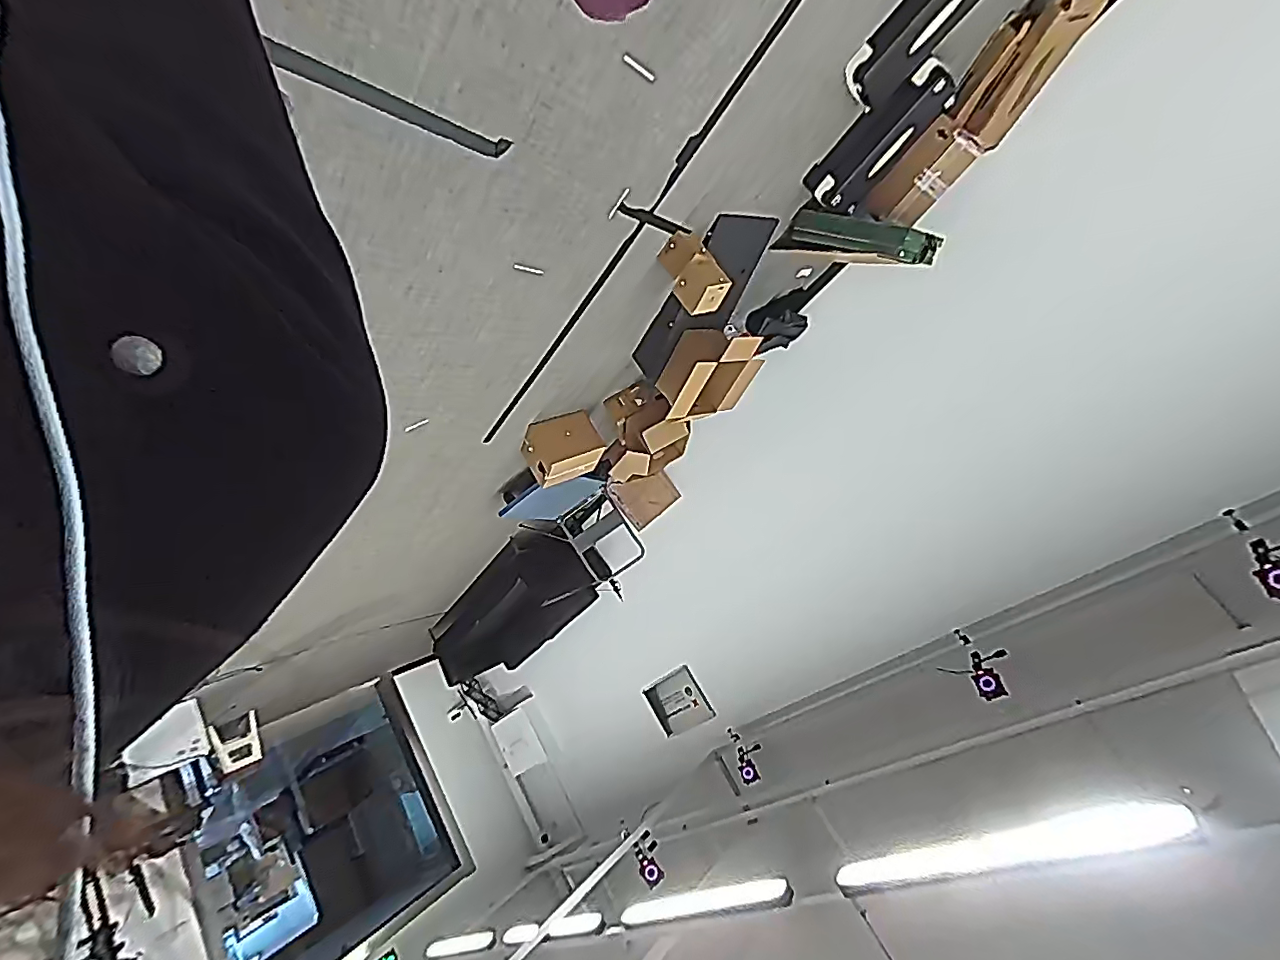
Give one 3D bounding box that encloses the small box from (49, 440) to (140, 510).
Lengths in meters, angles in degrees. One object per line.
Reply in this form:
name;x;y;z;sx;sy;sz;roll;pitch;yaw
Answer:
small box;-1.825;-0.021;1.804;0.168;0.176;0.179;-42;163;27
